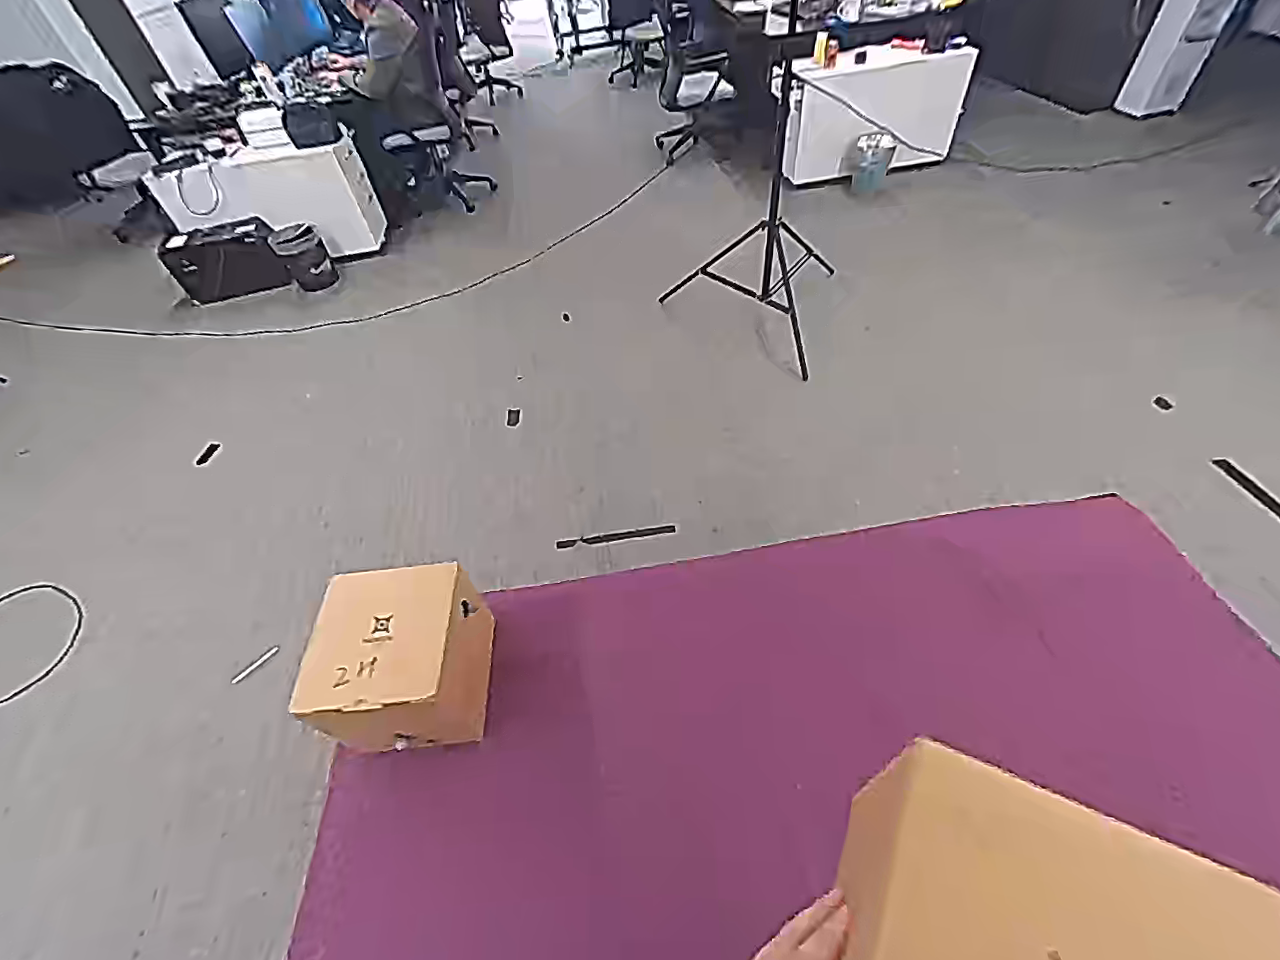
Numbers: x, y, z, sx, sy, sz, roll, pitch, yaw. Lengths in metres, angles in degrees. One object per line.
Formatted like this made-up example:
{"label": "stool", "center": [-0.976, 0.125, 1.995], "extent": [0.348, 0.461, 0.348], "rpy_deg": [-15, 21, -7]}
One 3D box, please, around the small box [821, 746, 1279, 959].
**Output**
{"label": "small box", "center": [0.204, 0.290, 0.306], "extent": [0.168, 0.176, 0.179], "rpy_deg": [18, 56, 20]}

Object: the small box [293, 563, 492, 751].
{"label": "small box", "center": [-0.299, 0.232, 0.703], "extent": [0.168, 0.176, 0.179], "rpy_deg": [-6, 50, 1]}
